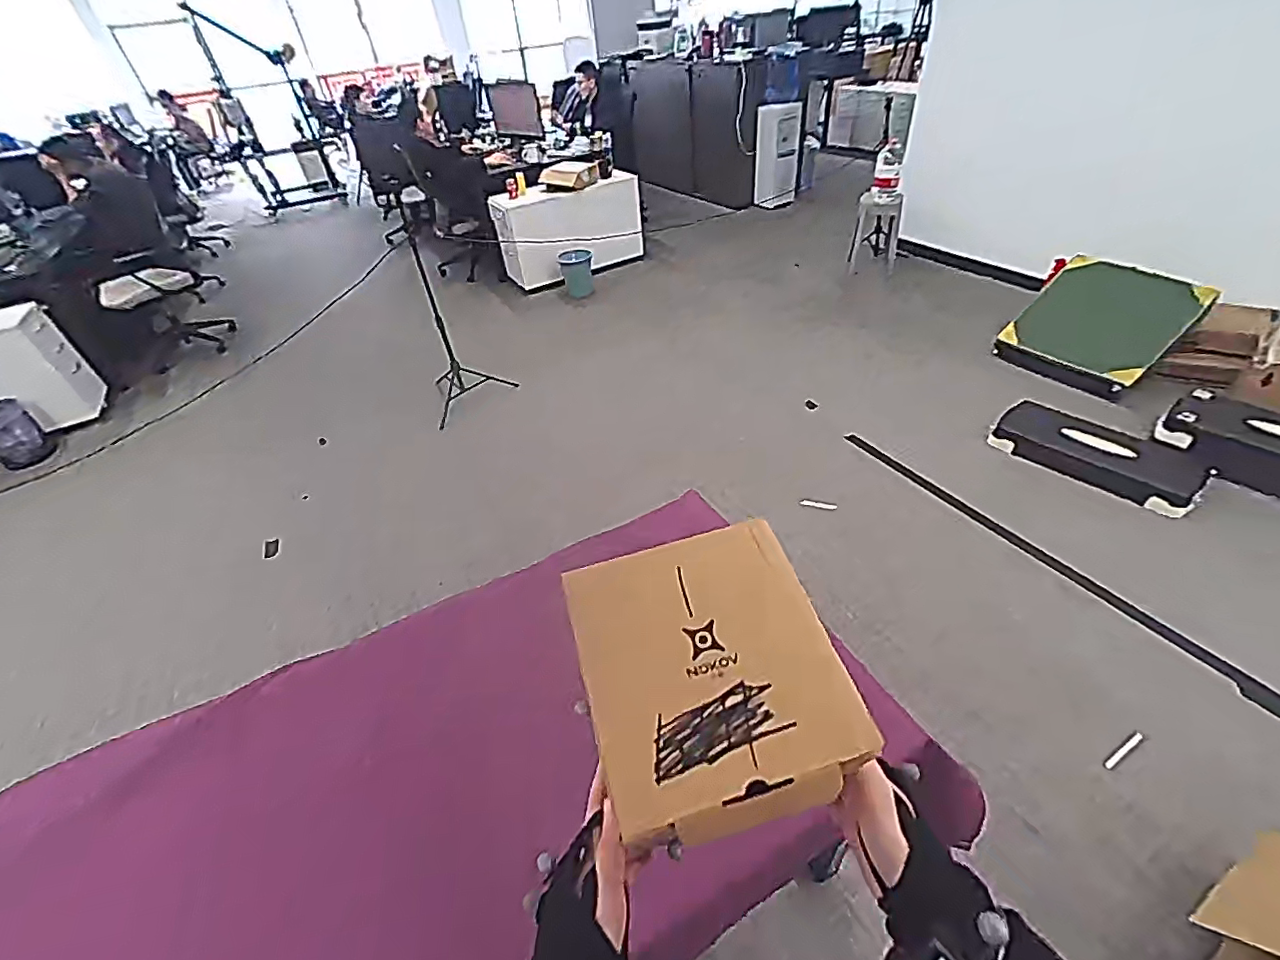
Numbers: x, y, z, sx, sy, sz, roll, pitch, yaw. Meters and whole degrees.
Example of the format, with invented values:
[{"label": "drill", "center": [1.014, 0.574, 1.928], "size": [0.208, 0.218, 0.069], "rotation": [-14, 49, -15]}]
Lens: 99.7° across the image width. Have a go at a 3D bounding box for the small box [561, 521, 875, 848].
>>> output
[{"label": "small box", "center": [0.045, 0.163, 0.423], "size": [0.168, 0.176, 0.179], "rotation": [-14, 54, -8]}]
